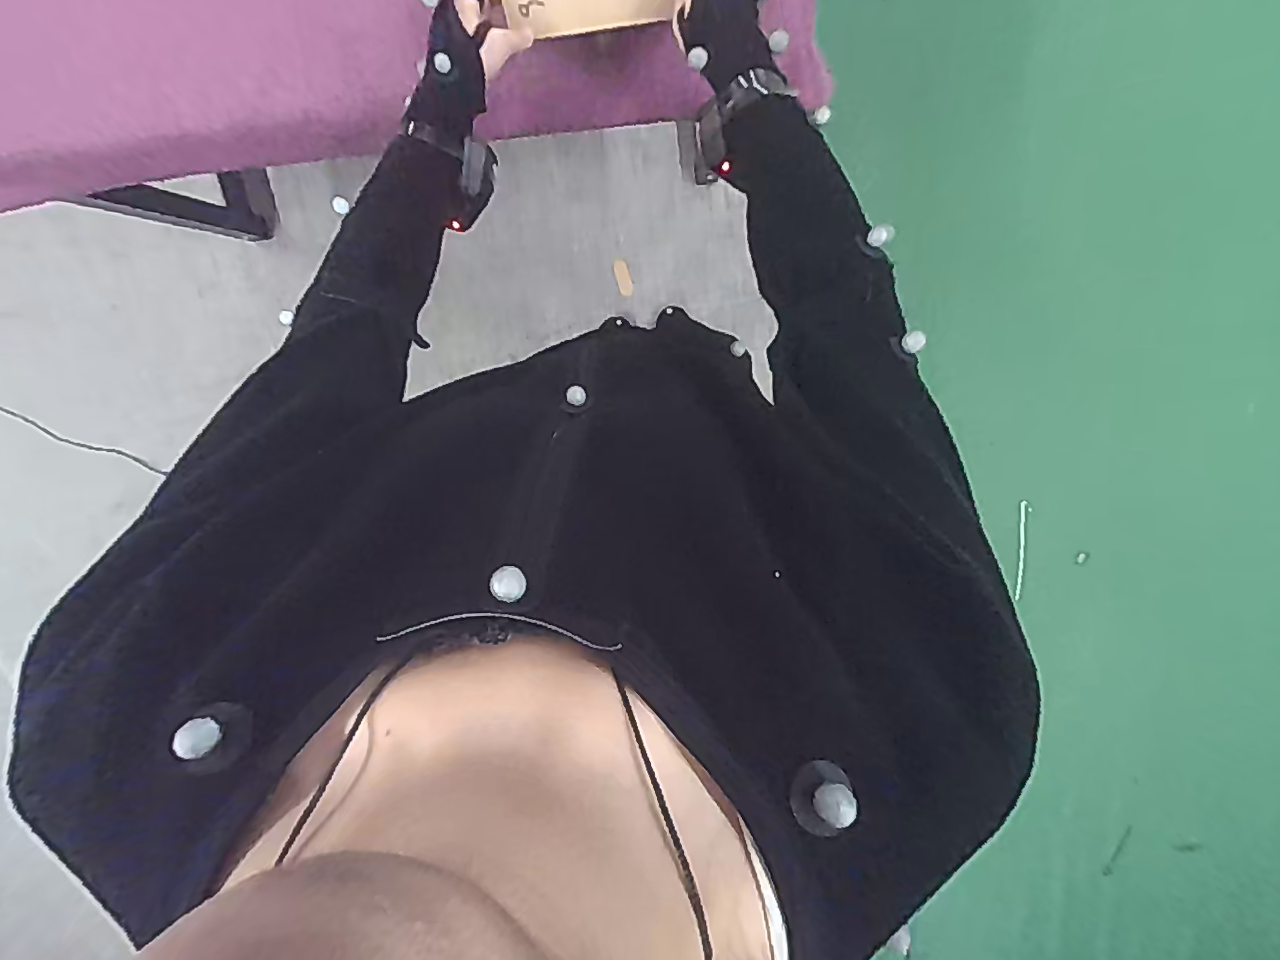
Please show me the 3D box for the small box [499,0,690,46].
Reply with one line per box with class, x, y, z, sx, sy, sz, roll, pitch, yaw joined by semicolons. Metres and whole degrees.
small box;-0.051;-0.534;0.516;0.179;0.176;0.168;-6;130;3
